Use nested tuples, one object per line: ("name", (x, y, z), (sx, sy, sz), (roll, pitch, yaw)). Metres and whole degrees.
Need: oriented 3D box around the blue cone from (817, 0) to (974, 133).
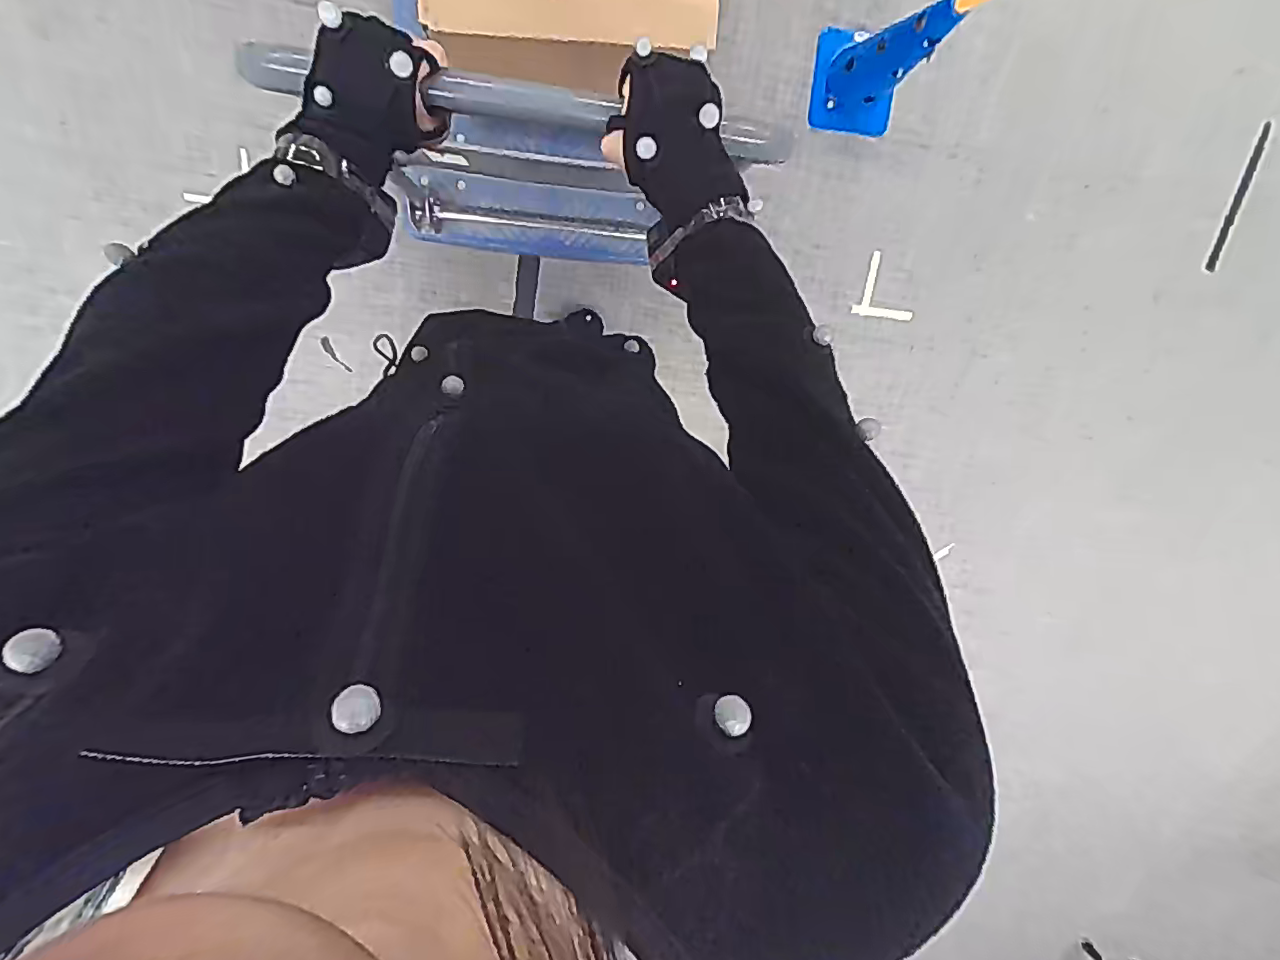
("blue cone", (0.526, -0.865, 1.087), (0.193, 0.380, 0.192), (3, 107, -10))
